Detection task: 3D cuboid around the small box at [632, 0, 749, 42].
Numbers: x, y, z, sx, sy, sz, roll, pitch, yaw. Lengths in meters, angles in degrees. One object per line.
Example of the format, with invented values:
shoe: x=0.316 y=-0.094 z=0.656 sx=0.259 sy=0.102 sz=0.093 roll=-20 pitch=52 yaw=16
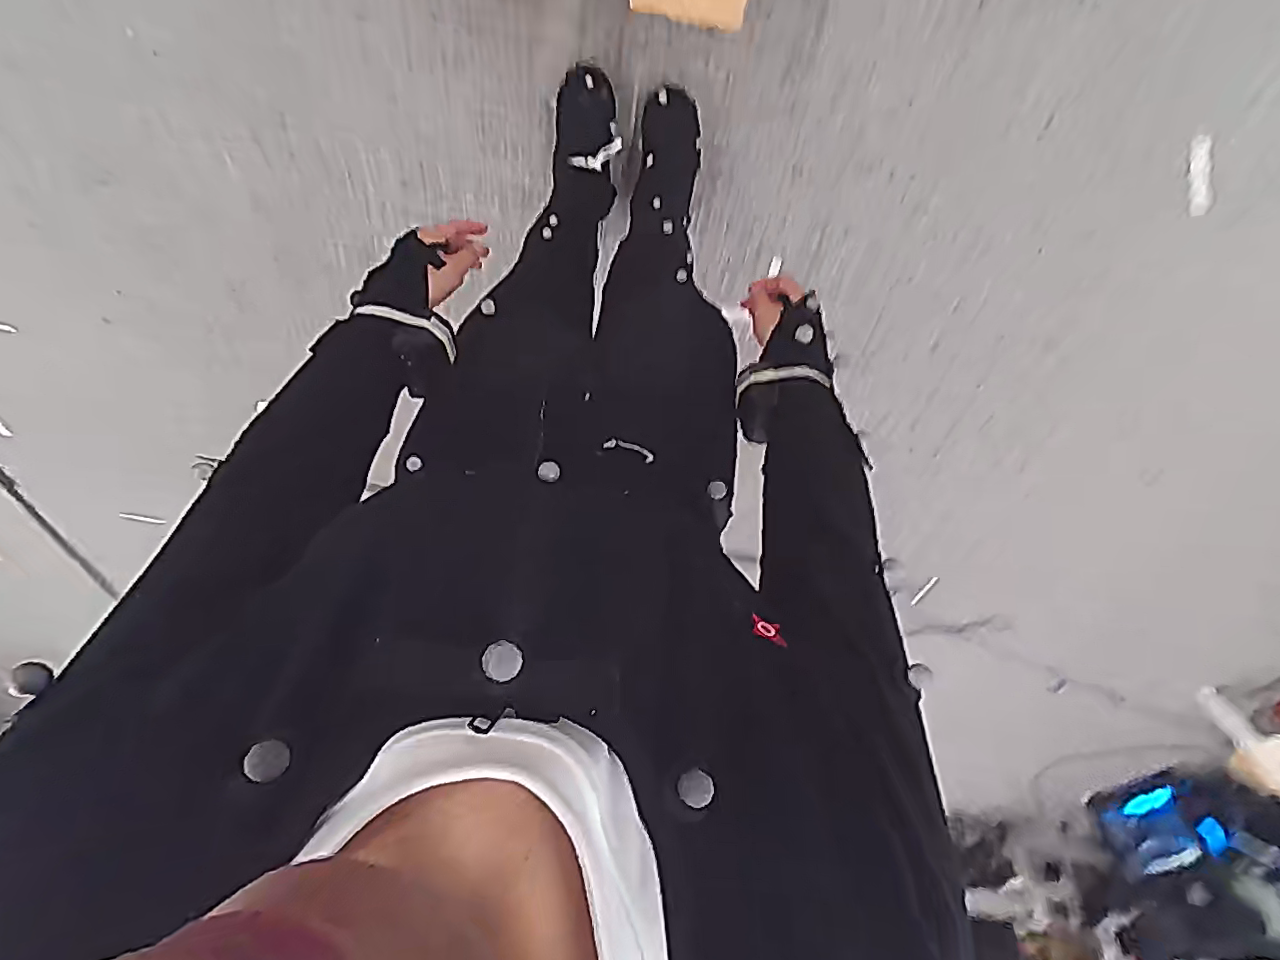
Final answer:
small box: x=0.088 y=-0.777 z=0.791 sx=0.168 sy=0.176 sz=0.179 roll=10 pitch=135 yaw=-3
